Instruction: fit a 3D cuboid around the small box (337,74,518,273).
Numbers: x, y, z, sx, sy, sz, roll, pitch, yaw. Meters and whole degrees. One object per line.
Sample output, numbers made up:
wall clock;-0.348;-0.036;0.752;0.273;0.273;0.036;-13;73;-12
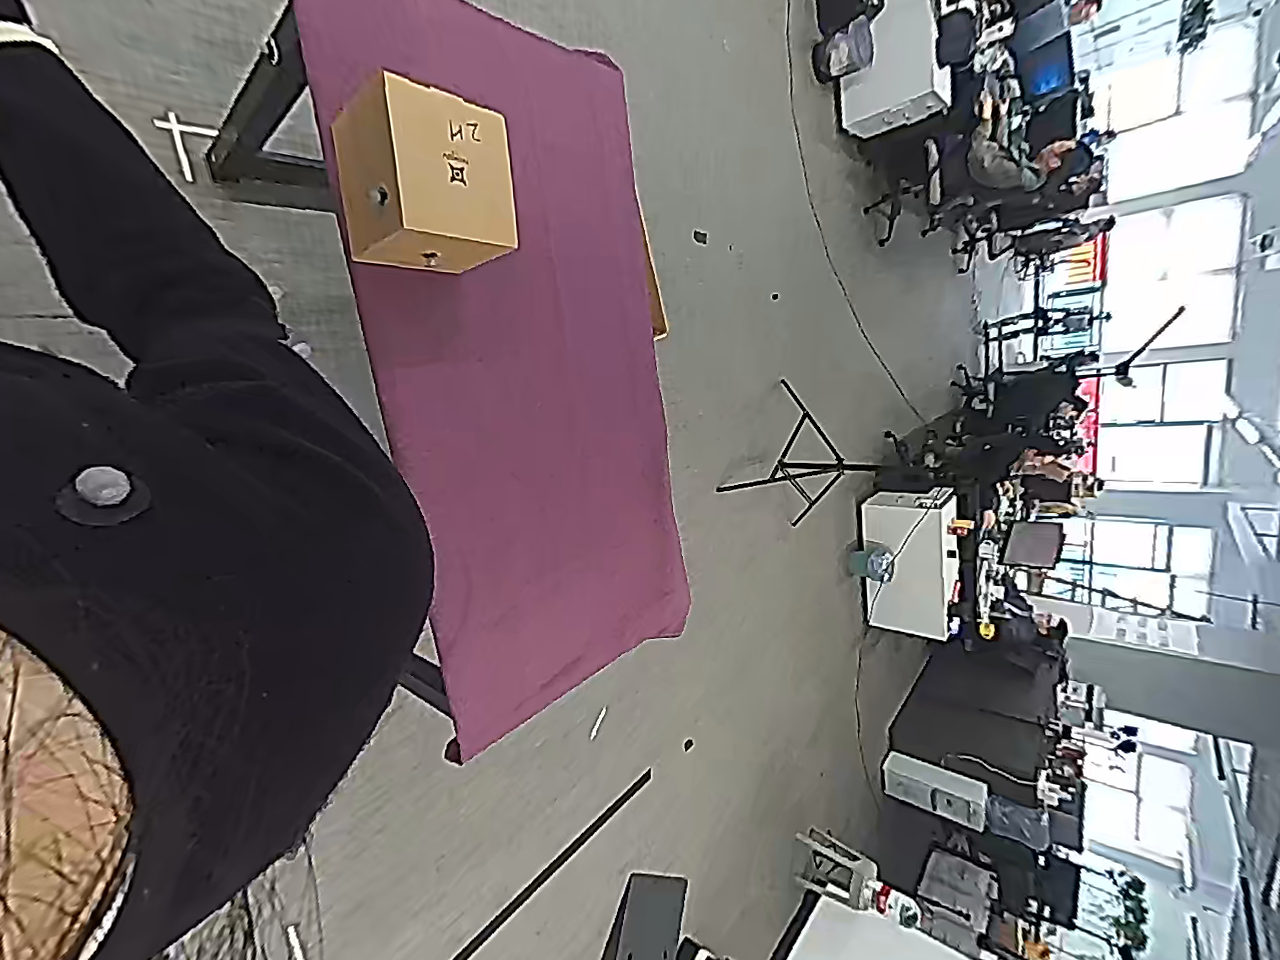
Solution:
small box;-0.291;-0.396;0.742;0.168;0.176;0.179;-14;102;-47
